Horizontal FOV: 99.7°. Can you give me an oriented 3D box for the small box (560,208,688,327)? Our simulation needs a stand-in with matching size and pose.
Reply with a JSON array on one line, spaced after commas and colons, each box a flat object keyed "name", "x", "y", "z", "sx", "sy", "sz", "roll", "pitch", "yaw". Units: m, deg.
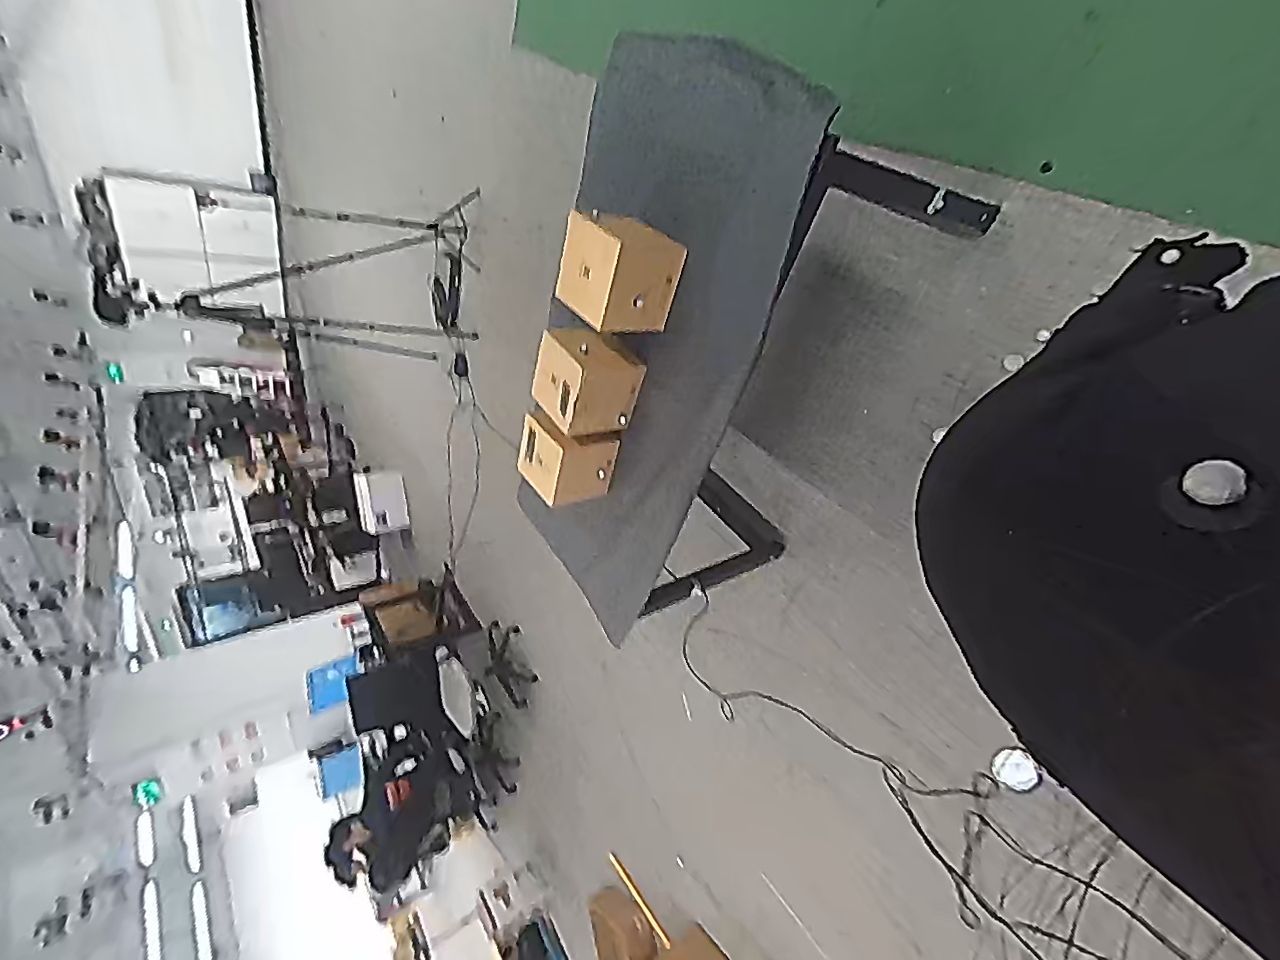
[{"name": "small box", "x": -0.033, "y": -0.419, "z": 1.070, "sx": 0.179, "sy": 0.176, "sz": 0.168, "roll": 46, "pitch": 133, "yaw": 34}]
